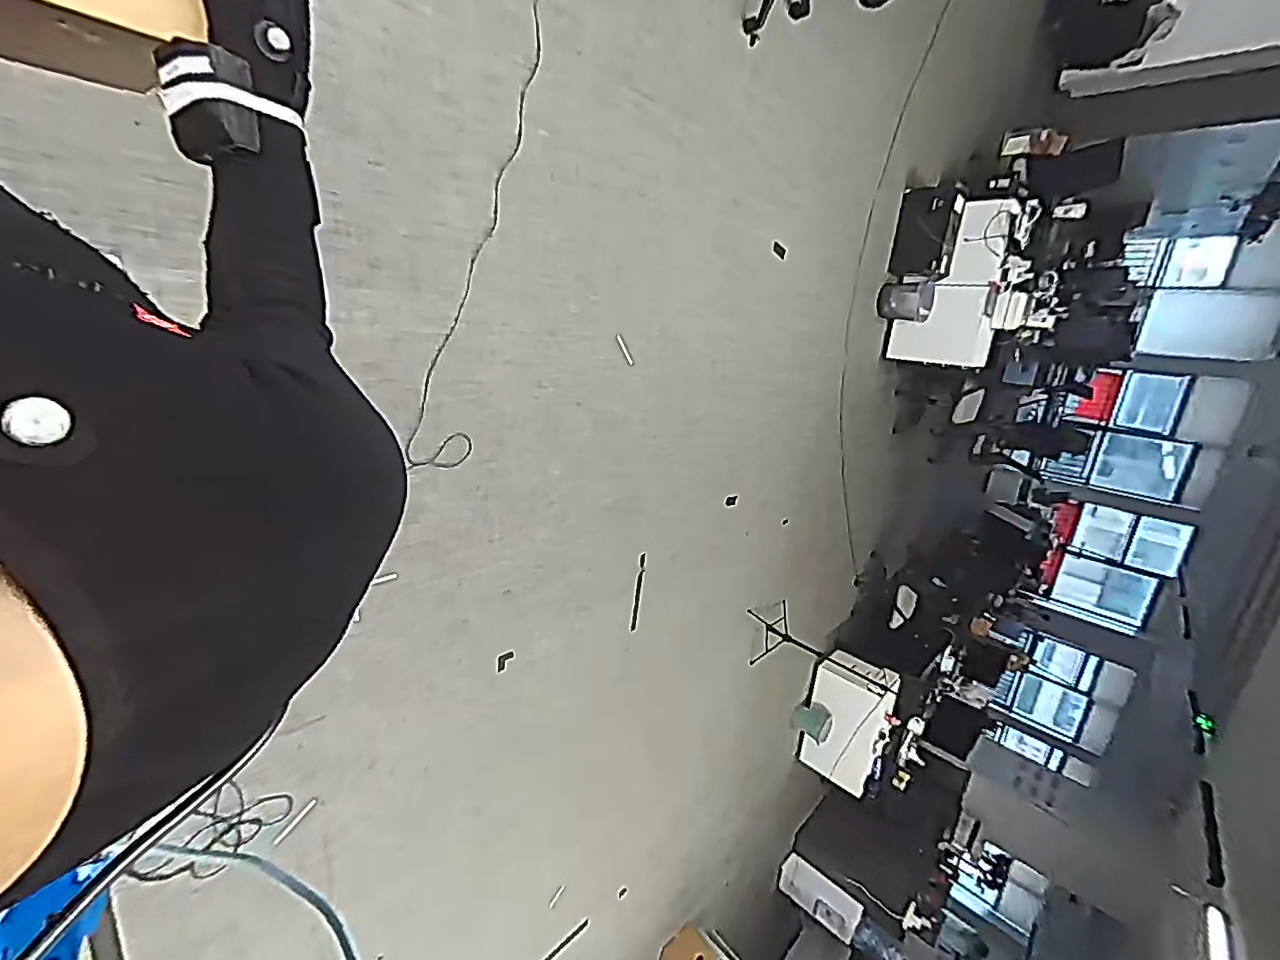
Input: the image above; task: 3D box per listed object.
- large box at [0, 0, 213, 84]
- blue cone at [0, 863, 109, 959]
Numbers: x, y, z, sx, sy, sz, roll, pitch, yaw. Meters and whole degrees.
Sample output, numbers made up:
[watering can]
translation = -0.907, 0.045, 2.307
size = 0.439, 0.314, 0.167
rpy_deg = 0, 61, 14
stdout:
[large box]
translation = -0.536, -0.474, 0.290
size = 0.408, 0.320, 0.320
rpy_deg = -14, 121, -47
[blue cone]
translation = -1.240, 1.021, 1.124
size = 0.193, 0.380, 0.192
rpy_deg = 20, 90, -49
